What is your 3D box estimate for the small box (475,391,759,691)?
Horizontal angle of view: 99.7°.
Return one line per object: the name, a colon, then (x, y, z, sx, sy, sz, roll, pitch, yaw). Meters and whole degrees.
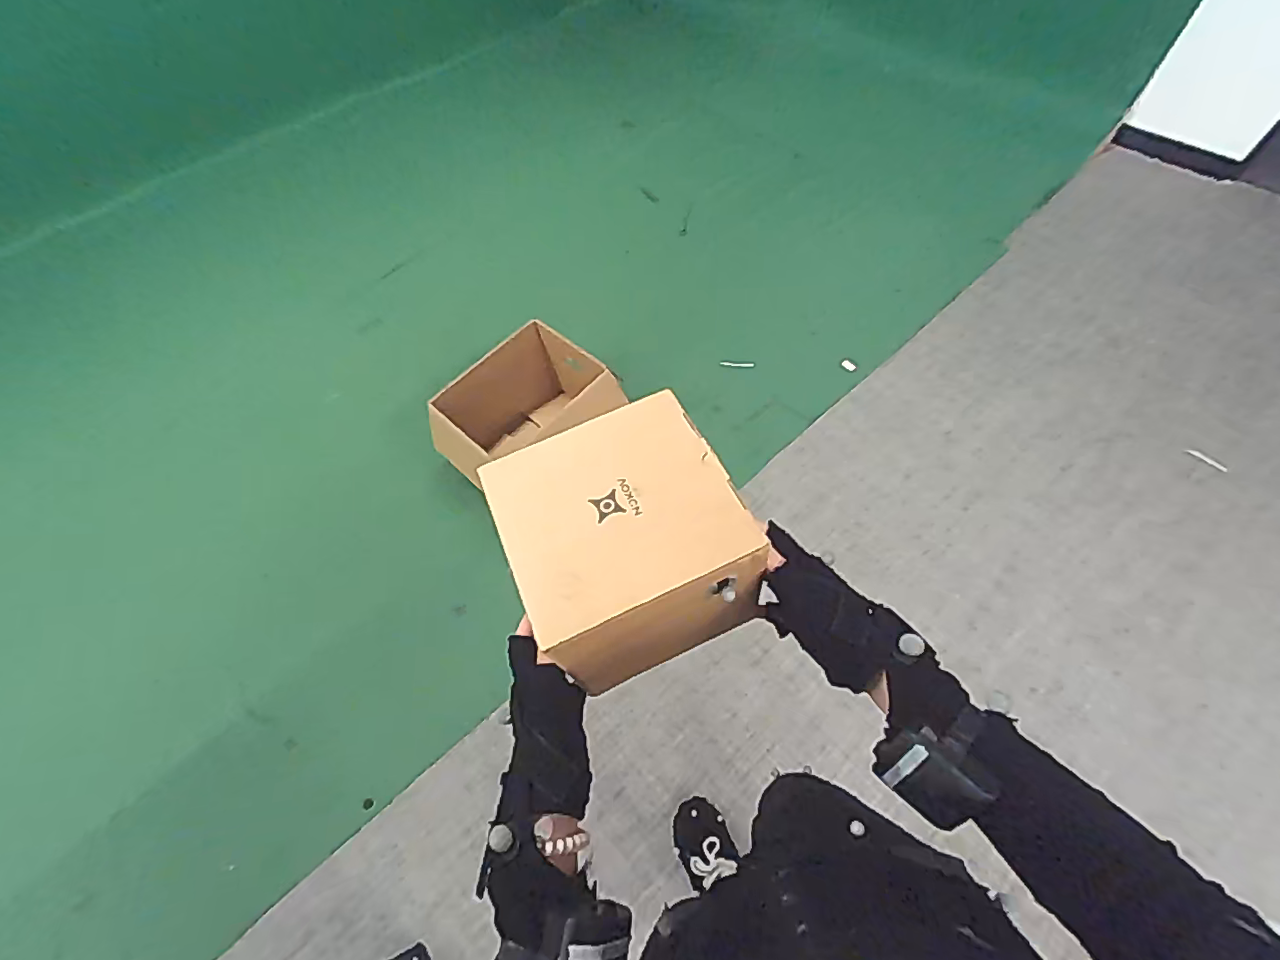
small box: (-0.015, 0.061, 0.472, 0.179, 0.176, 0.168, -24, 58, -8)
